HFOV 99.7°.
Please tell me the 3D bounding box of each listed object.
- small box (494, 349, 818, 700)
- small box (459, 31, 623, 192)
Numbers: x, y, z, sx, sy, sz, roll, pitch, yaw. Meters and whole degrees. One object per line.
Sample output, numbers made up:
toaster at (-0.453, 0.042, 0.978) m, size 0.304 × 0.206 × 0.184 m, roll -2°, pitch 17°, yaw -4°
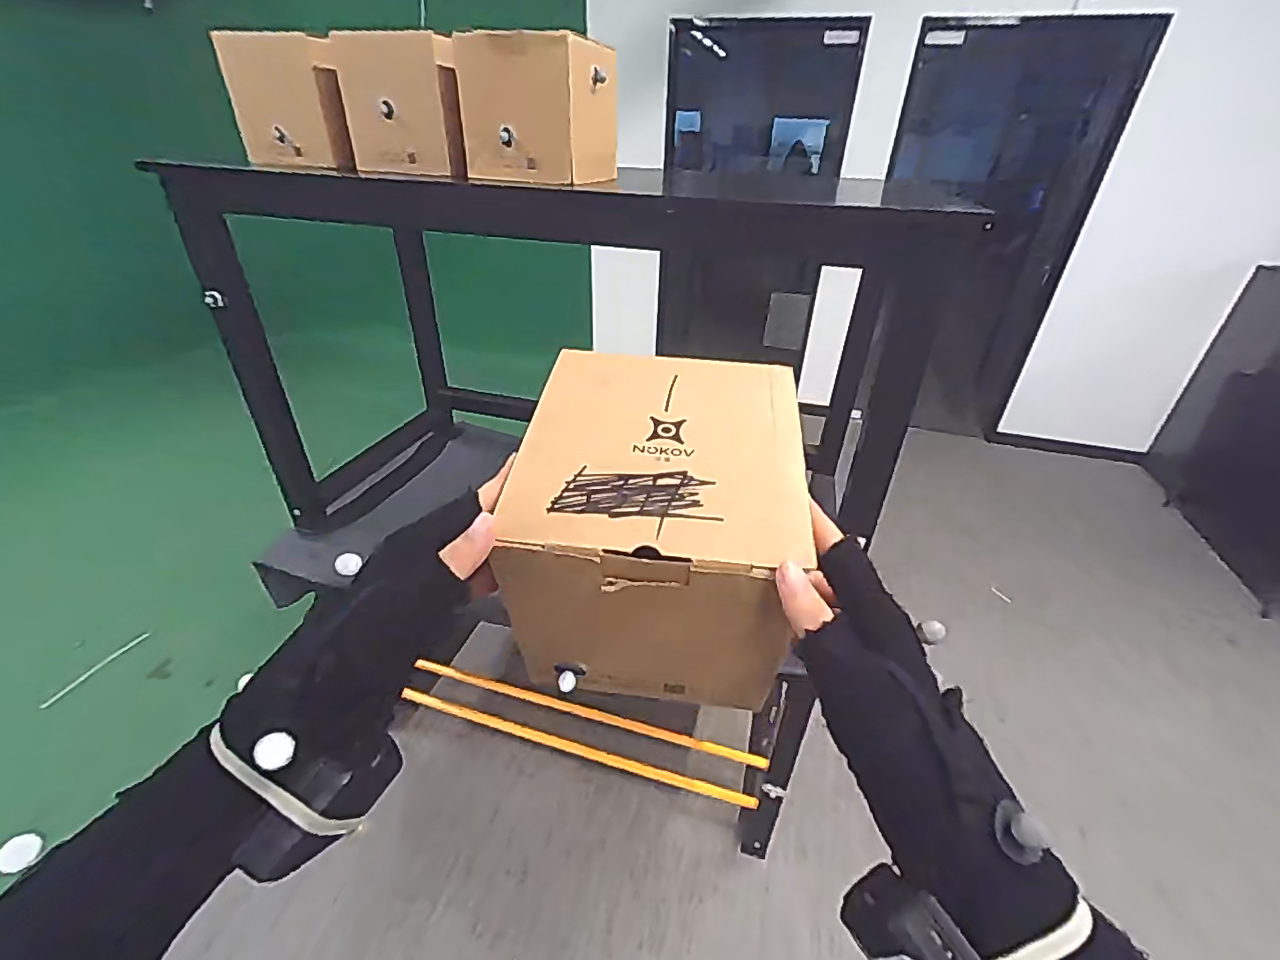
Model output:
small box at (0.017, 0.032, 0.378) m, size 0.168 × 0.176 × 0.179 m, roll 6°, pitch 46°, yaw 5°
small box at (-0.132, -0.517, 0.772) m, size 0.168 × 0.176 × 0.179 m, roll 11°, pitch 34°, yaw 14°
